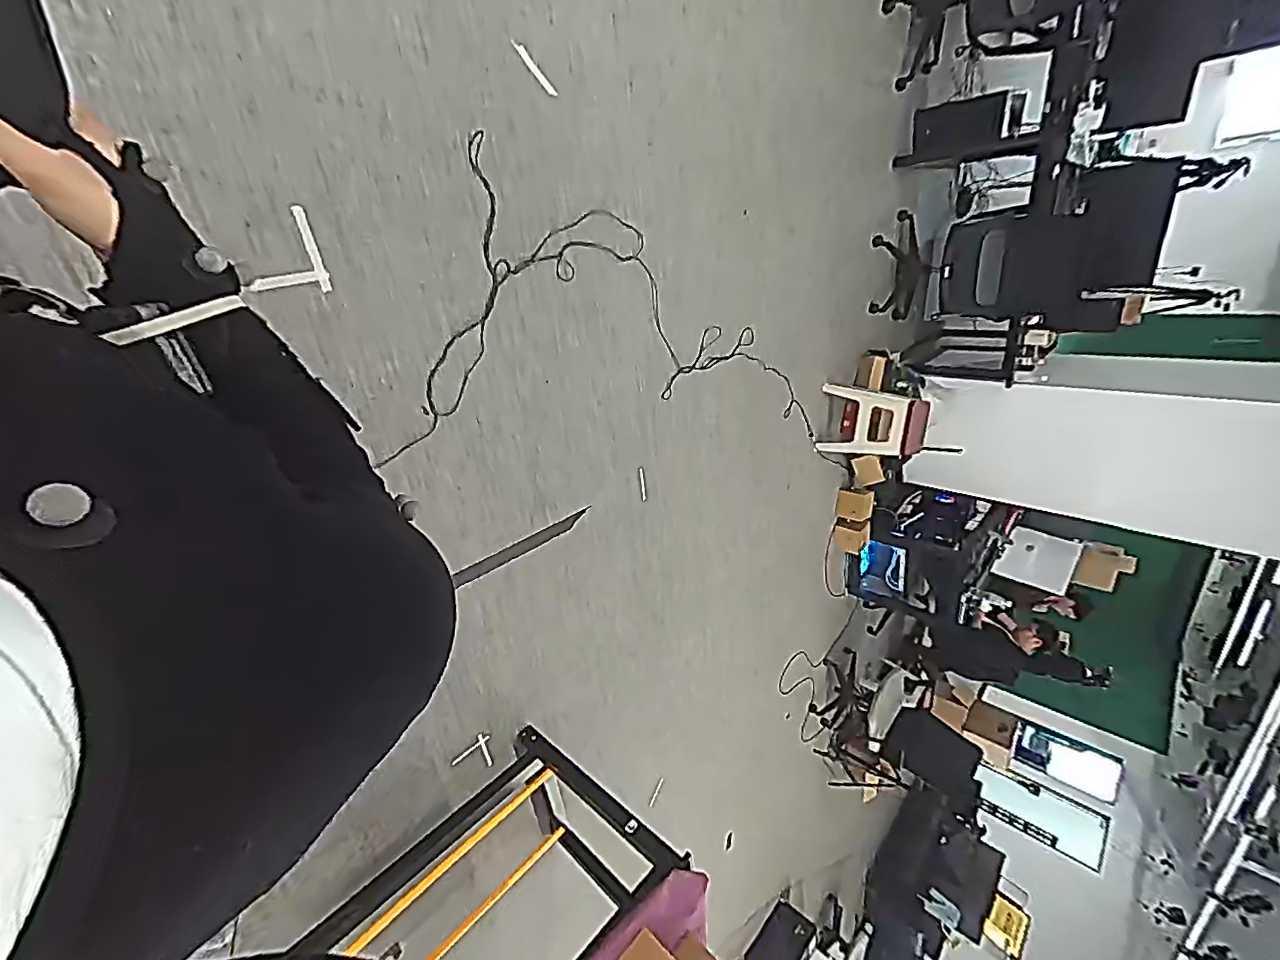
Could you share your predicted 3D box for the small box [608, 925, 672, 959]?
[{"bbox_3d":[0.003,1.221,1.279,0.179,0.176,0.168,-30,124,-37],"label":"small box"}]
